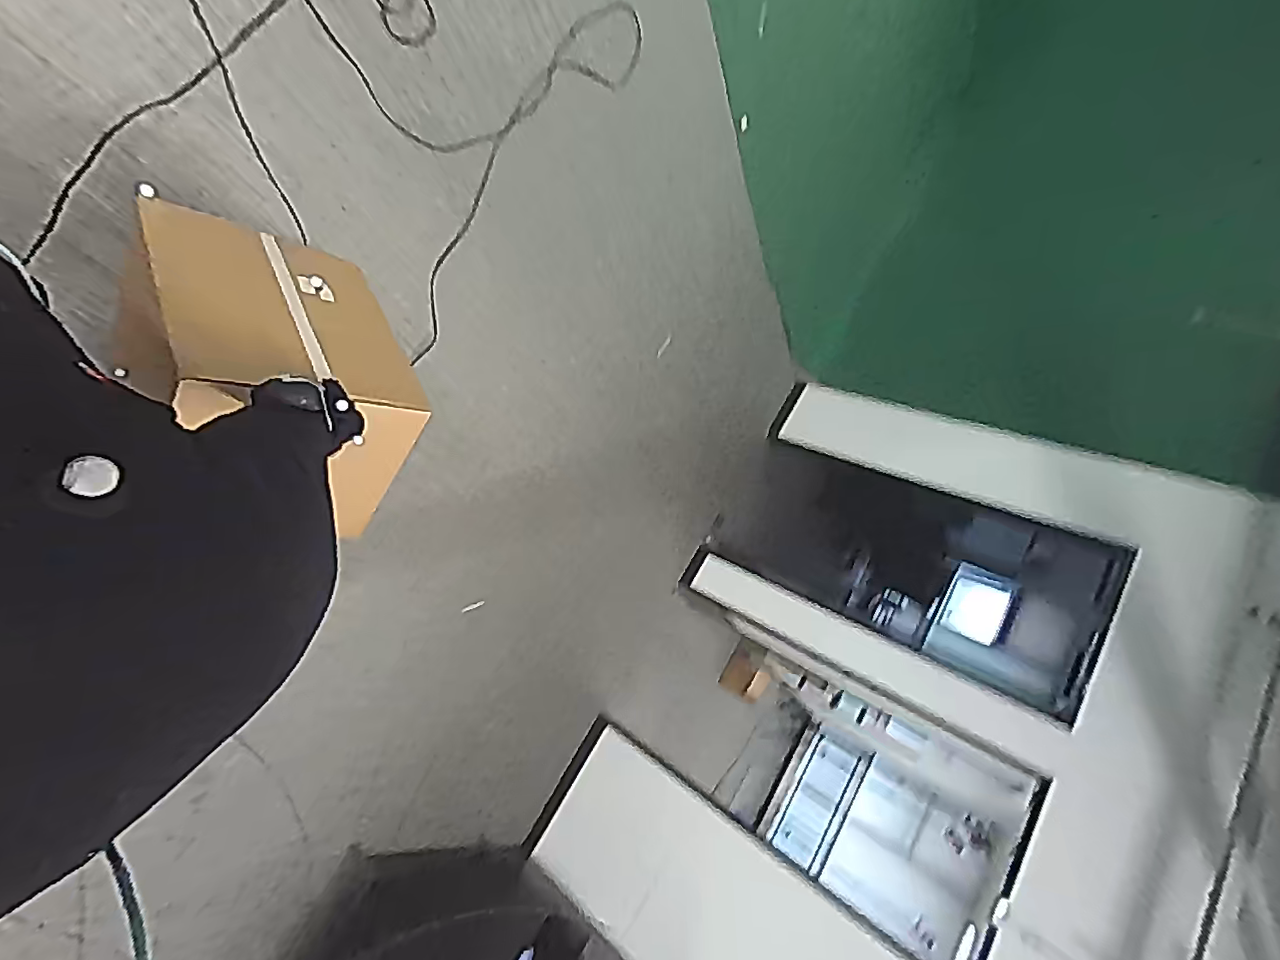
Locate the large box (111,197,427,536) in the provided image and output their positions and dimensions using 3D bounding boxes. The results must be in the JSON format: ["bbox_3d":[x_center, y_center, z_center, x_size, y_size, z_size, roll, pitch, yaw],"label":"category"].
[{"bbox_3d":[-0.619,-0.165,0.886,0.320,0.408,0.320,1,137,-52],"label":"large box"}]
